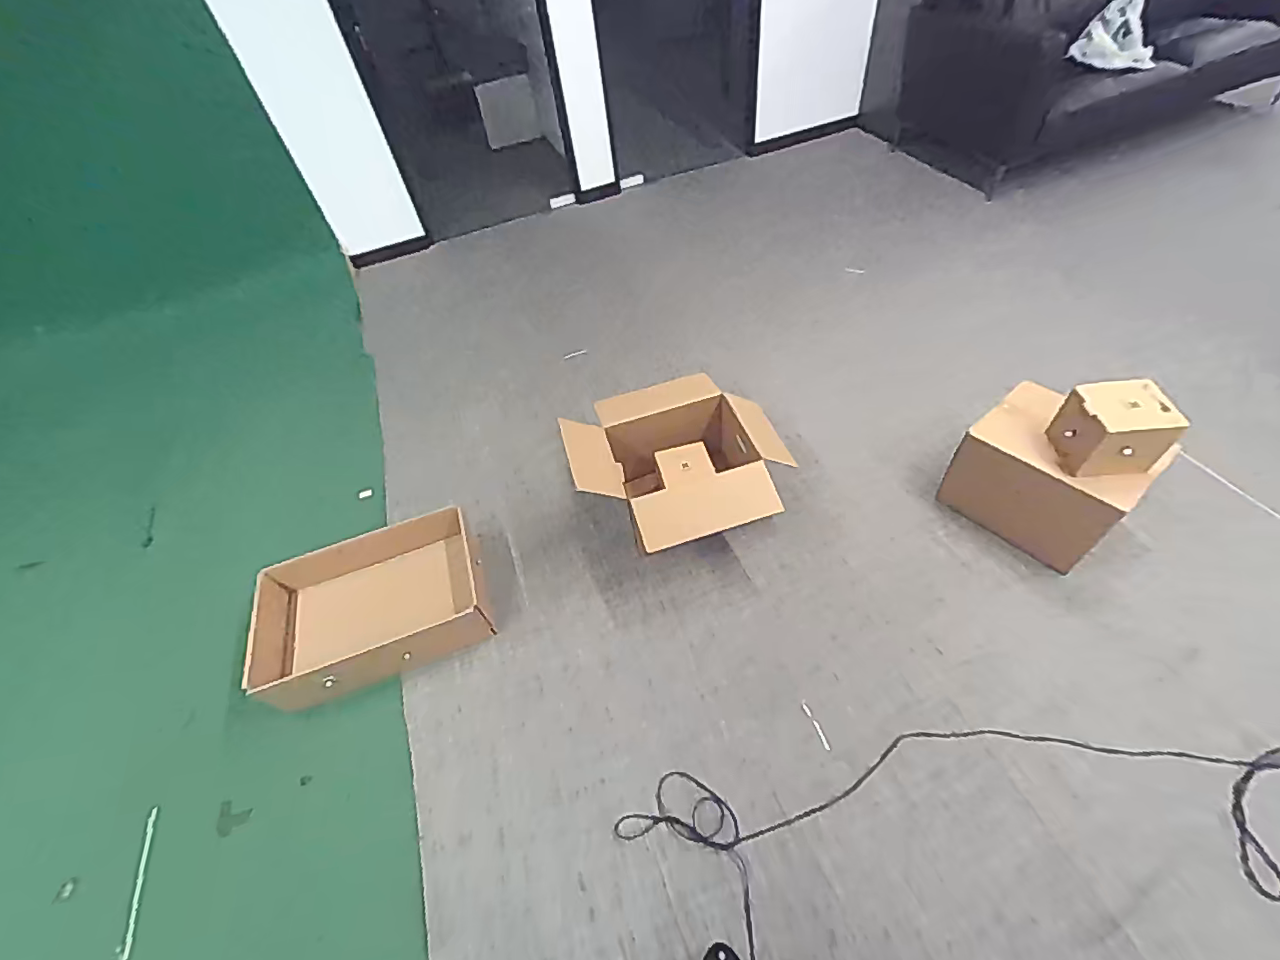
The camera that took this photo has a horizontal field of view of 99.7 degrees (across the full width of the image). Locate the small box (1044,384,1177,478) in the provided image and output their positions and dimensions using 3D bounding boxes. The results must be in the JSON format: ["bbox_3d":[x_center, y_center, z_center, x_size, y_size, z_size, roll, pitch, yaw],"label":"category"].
[{"bbox_3d":[1.168,-0.120,1.367,0.179,0.176,0.168,-5,50,6],"label":"small box"}]
